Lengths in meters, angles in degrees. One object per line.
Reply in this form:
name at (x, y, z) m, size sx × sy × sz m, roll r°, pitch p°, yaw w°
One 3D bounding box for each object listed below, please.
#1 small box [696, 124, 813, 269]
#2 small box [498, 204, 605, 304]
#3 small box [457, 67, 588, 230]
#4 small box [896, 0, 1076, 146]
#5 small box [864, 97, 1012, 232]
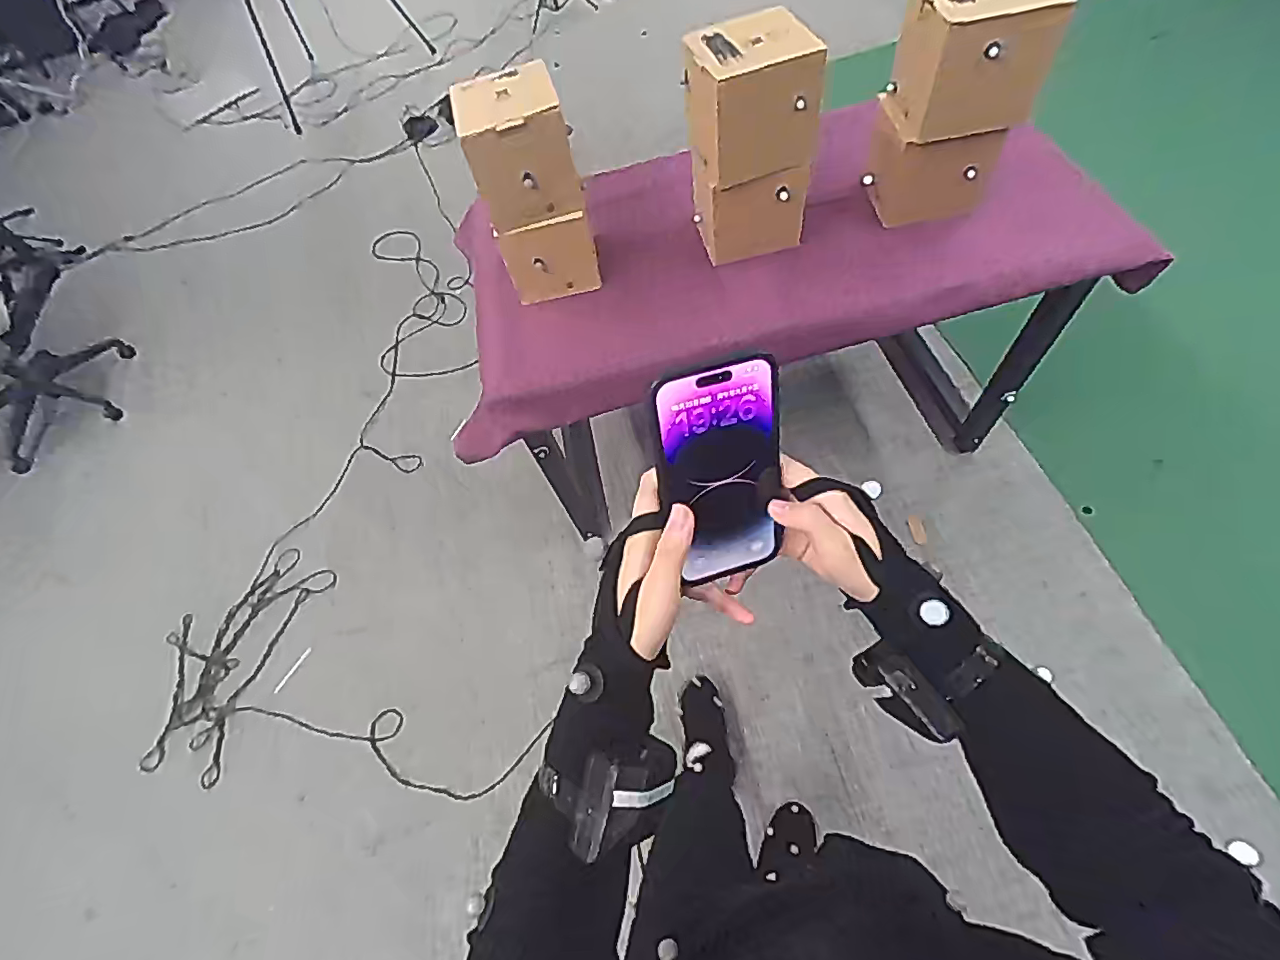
small box at (0.212, -0.539, 1.040) m, size 0.179 × 0.176 × 0.168 m, roll -13°, pitch 59°, yaw 3°
small box at (-0.172, -0.471, 1.070) m, size 0.168 × 0.176 × 0.179 m, roll -12°, pitch 59°, yaw 3°
small box at (-0.198, -0.560, 0.934) m, size 0.168 × 0.176 × 0.179 m, roll -16°, pitch 60°, yaw 0°
small box at (0.533, -0.670, 0.871) m, size 0.179 × 0.176 × 0.168 m, roll -7°, pitch 59°, yaw 5°
small box at (0.546, -0.600, 1.019) m, size 0.179 × 0.176 × 0.168 m, roll -7°, pitch 59°, yaw 6°
